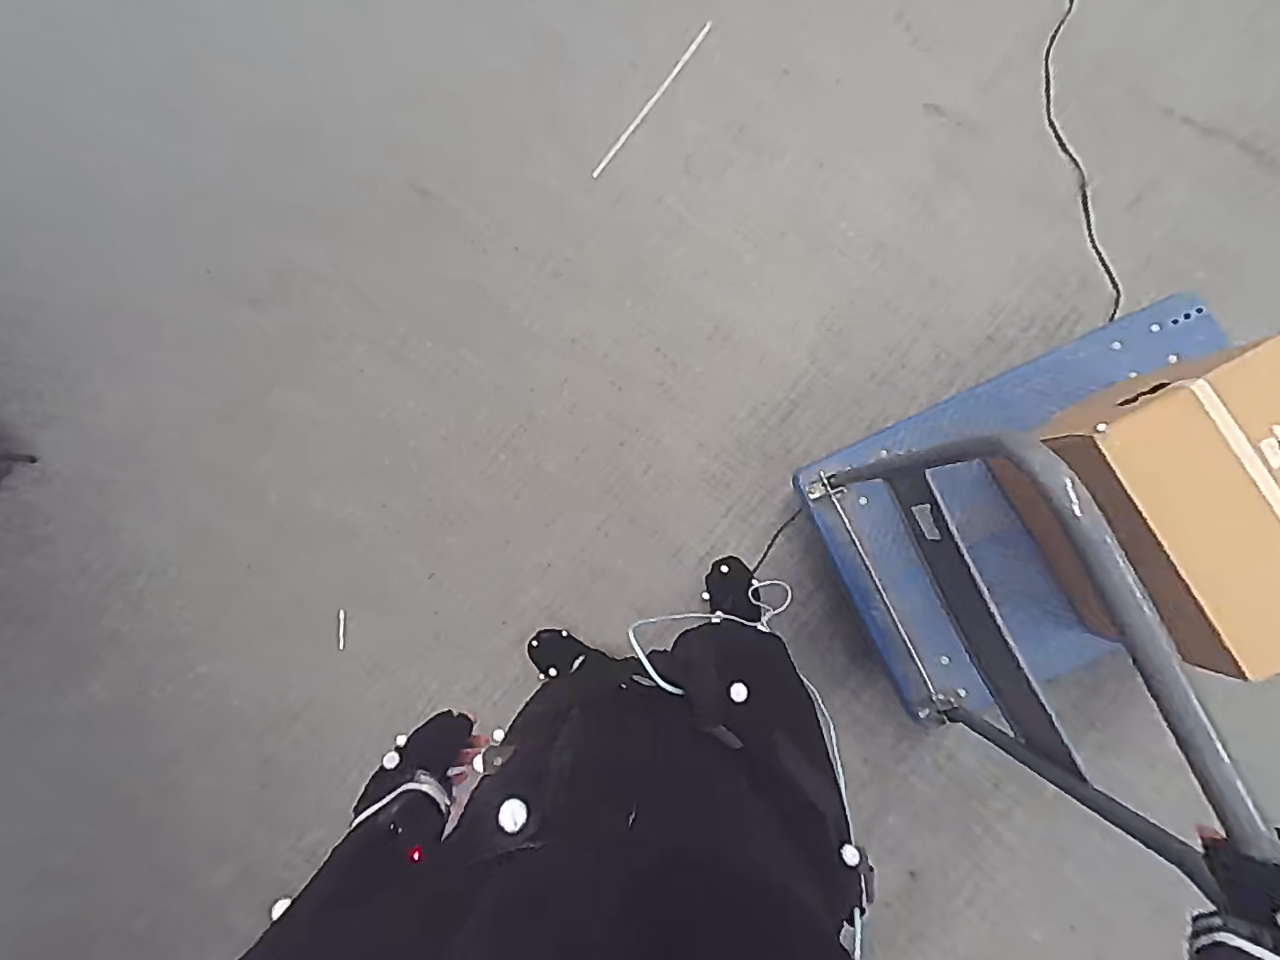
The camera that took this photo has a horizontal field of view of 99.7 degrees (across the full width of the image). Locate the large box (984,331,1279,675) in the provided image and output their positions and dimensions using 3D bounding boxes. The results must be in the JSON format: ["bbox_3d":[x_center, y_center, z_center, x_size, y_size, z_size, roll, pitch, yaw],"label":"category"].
[{"bbox_3d":[0.895,0.038,0.908,0.320,0.320,0.408,-29,84,3],"label":"large box"}]
